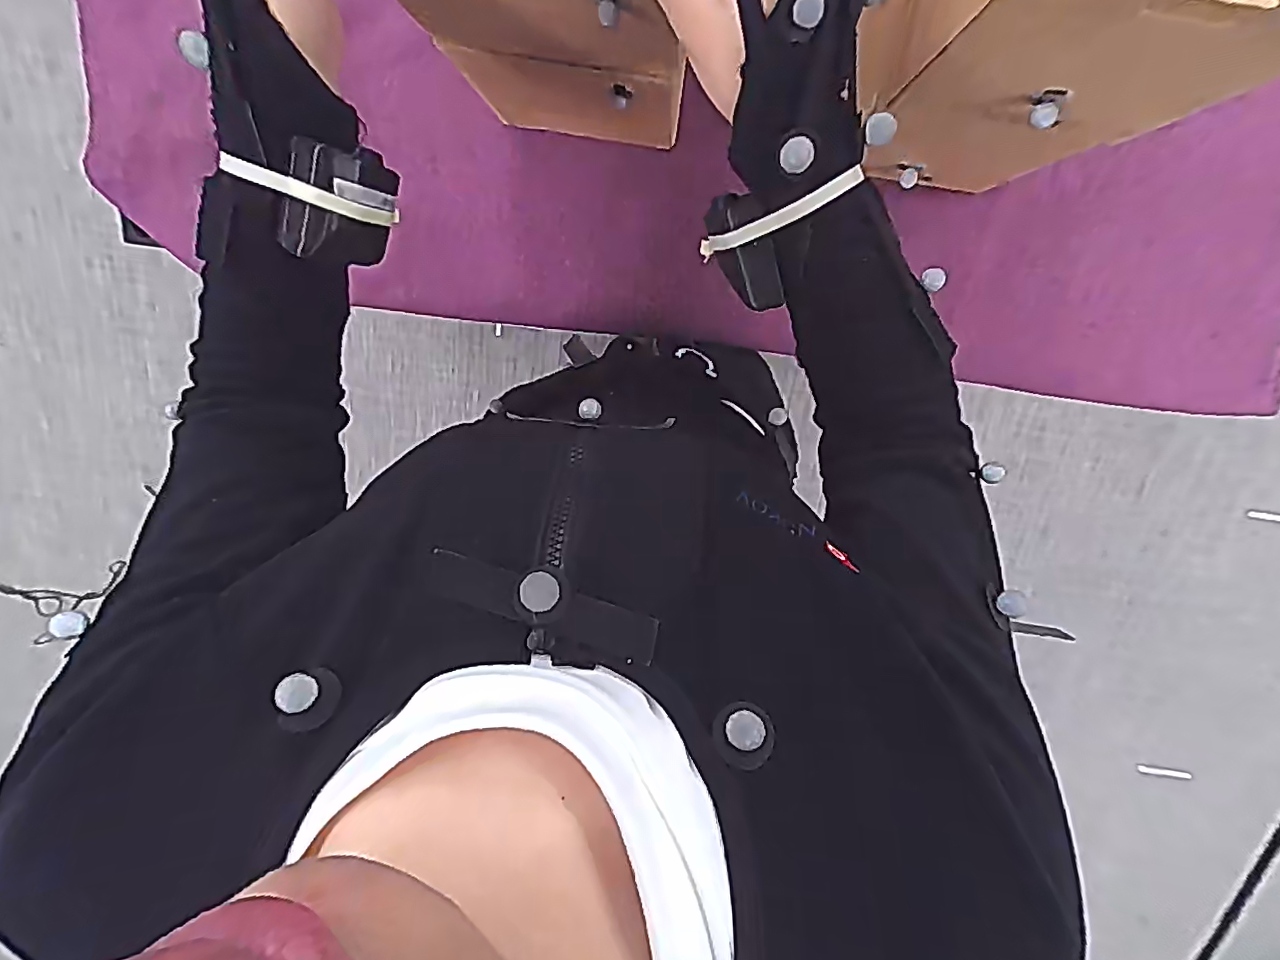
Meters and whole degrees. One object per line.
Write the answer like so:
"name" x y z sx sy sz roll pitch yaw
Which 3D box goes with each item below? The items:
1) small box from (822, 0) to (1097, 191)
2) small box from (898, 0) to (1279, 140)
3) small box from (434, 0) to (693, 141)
"small box" 0.265 -0.360 0.439 0.168 0.176 0.179 10 107 0
"small box" 0.263 -0.312 0.281 0.168 0.176 0.179 10 107 1
"small box" -0.047 -0.402 0.442 0.179 0.176 0.168 8 107 0
